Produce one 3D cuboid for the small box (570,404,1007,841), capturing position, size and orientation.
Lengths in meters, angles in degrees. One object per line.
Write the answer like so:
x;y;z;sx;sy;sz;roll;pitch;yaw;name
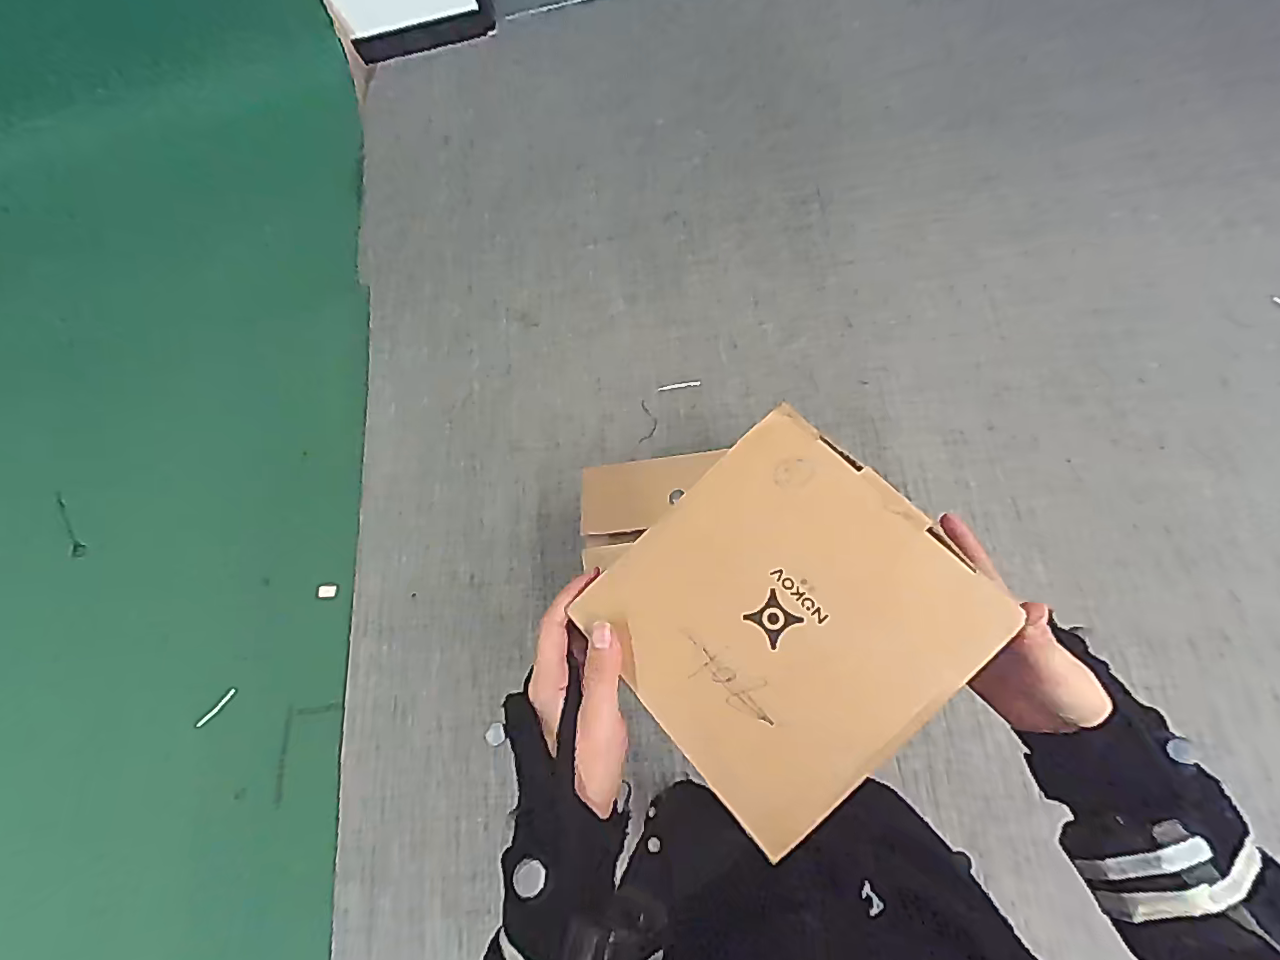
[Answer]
0.088;0.085;0.370;0.179;0.176;0.168;-45;71;1;small box
